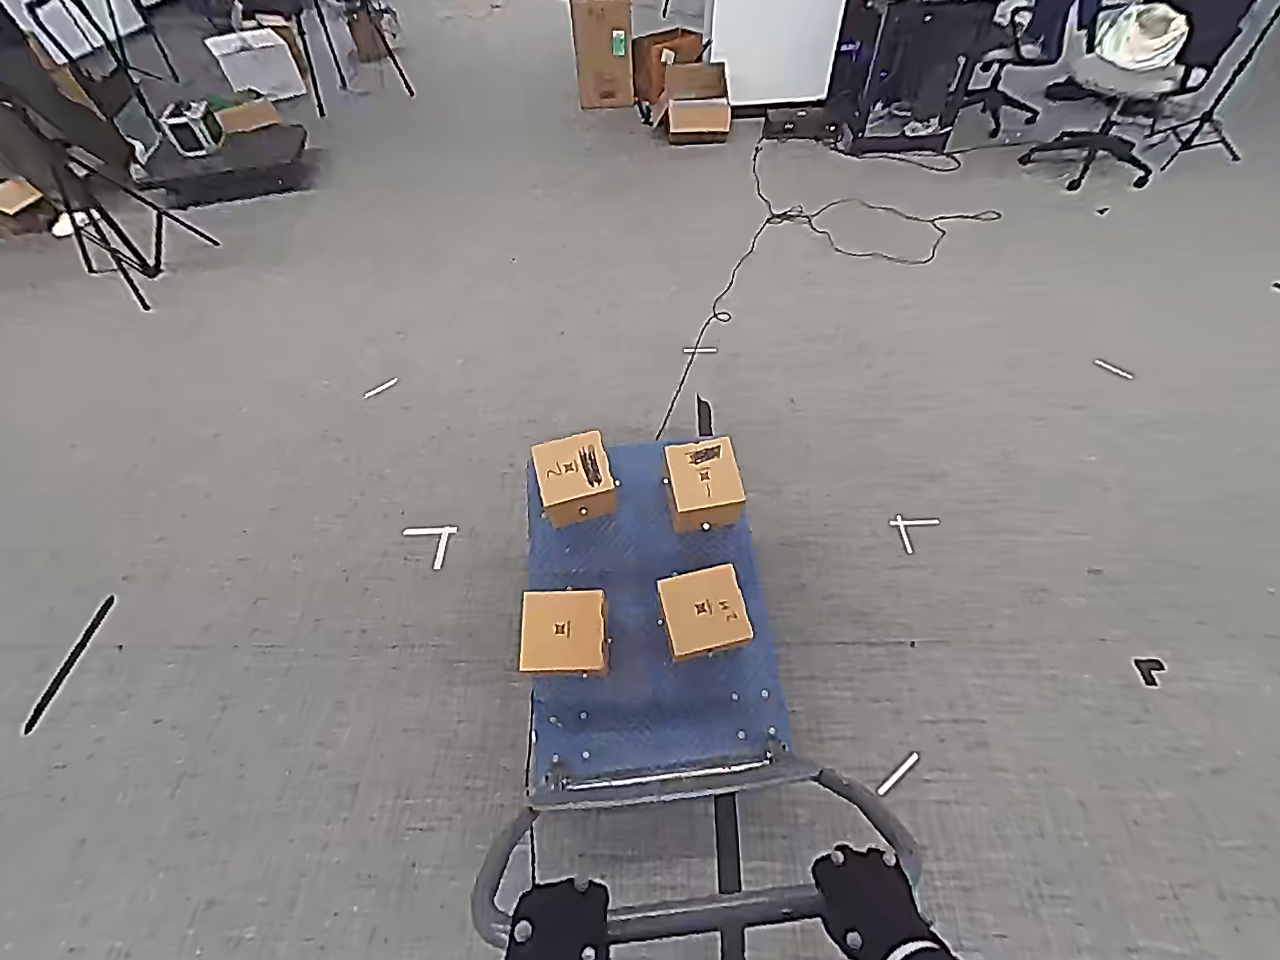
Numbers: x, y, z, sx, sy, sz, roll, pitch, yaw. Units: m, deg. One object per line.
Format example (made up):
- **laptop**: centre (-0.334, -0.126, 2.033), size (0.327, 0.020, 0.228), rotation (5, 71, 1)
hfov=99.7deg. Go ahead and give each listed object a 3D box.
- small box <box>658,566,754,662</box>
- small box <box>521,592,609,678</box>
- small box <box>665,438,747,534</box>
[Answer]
- **small box**: centre (0.143, 0.312, 1.236), size (0.179, 0.176, 0.168), rotation (-13, 67, -4)
- **small box**: centre (-0.162, 0.355, 1.226), size (0.179, 0.176, 0.168), rotation (-2, 66, -1)
- **small box**: centre (0.157, 0.019, 1.363), size (0.168, 0.176, 0.179), rotation (-10, 68, -2)
